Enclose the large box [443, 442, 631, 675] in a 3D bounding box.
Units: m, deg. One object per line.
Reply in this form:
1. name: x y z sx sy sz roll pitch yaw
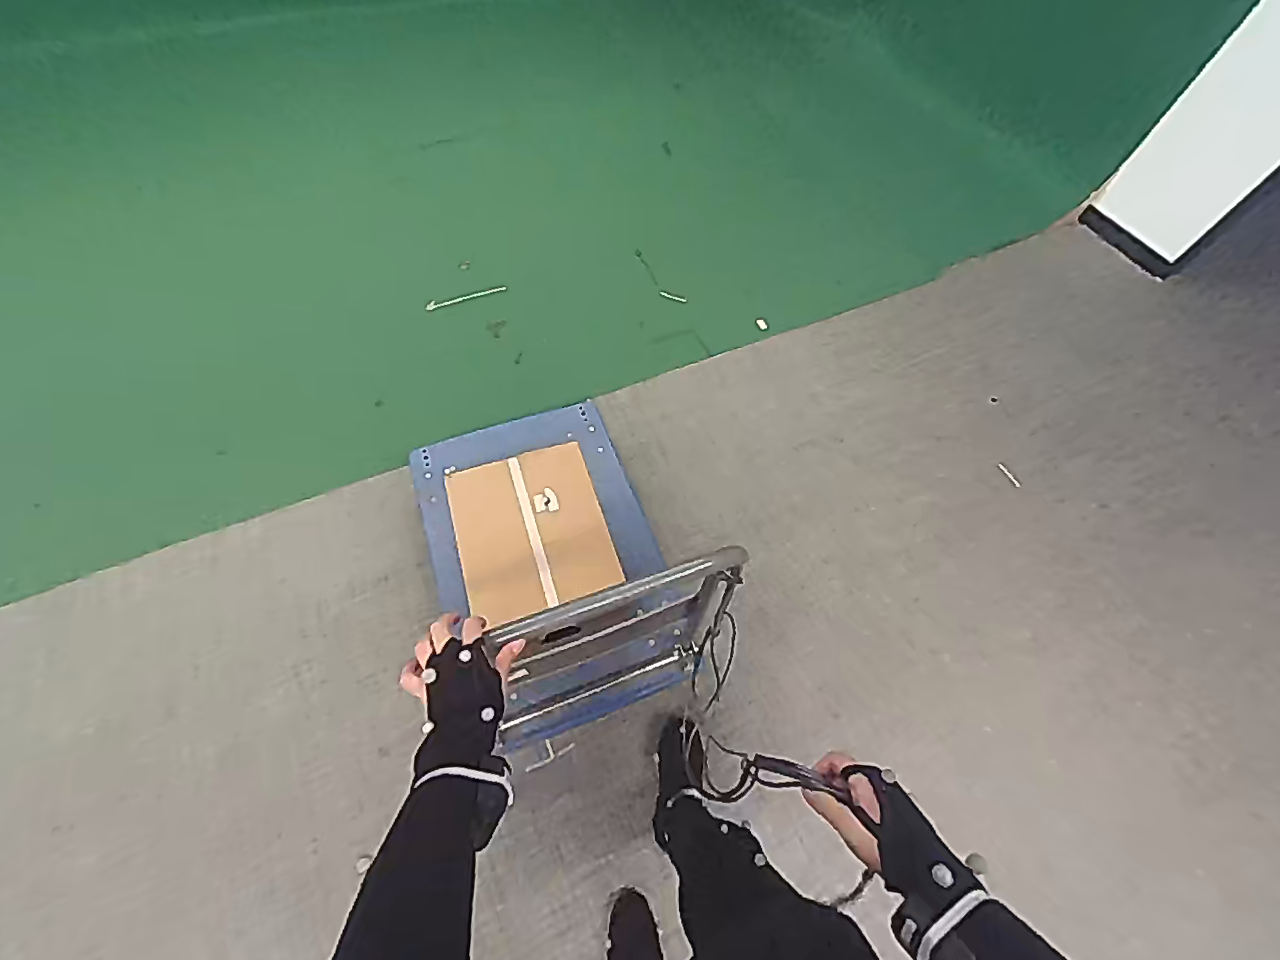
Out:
1. large box: -0.233 0.189 1.271 0.320 0.320 0.408 -16 62 -12
